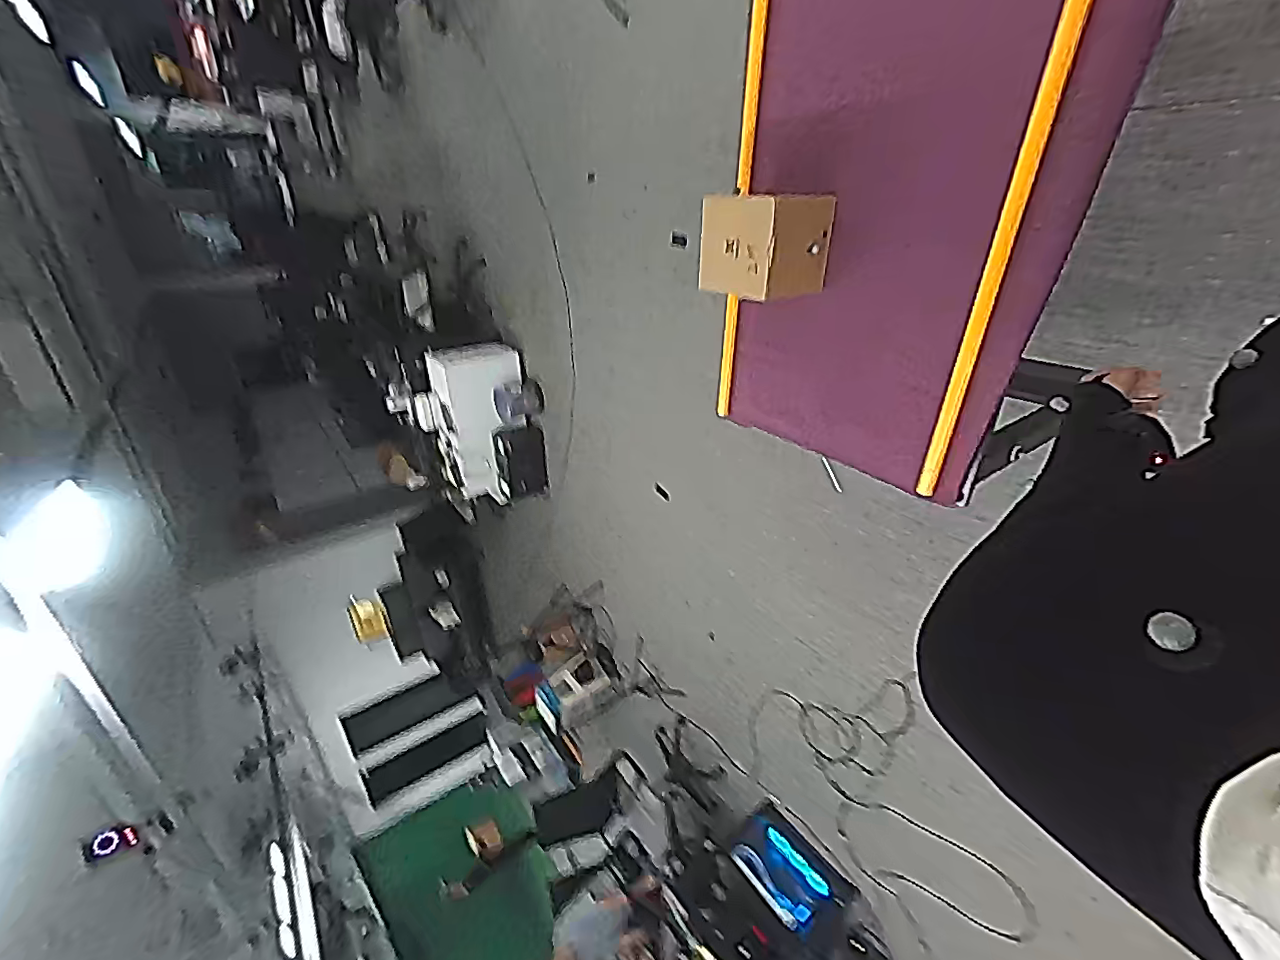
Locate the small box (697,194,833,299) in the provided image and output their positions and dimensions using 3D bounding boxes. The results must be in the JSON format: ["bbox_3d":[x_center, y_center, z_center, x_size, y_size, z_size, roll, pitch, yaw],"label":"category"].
[{"bbox_3d":[0.231,-0.446,1.022,0.179,0.176,0.168,31,131,44],"label":"small box"}]
